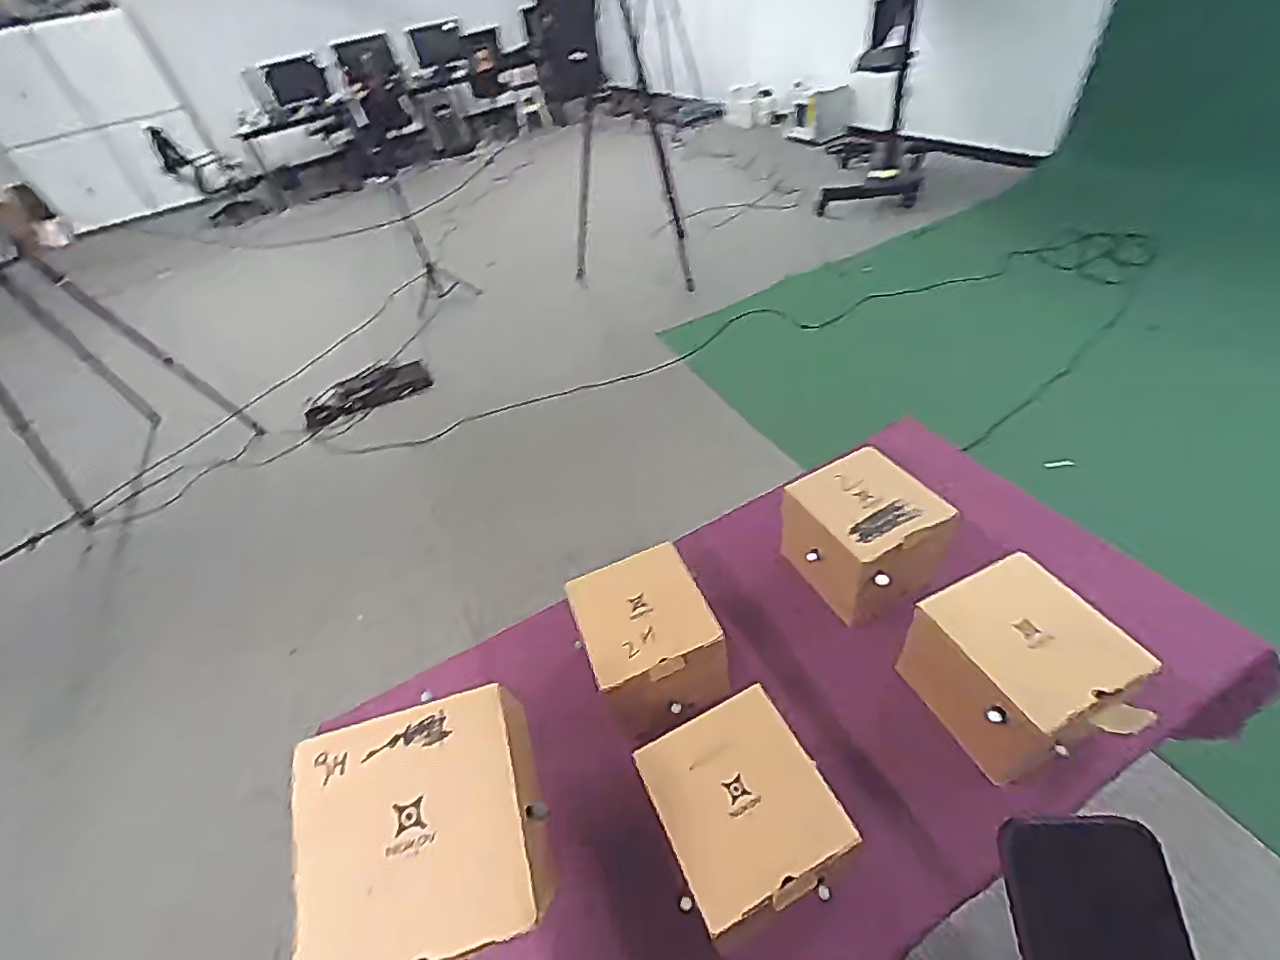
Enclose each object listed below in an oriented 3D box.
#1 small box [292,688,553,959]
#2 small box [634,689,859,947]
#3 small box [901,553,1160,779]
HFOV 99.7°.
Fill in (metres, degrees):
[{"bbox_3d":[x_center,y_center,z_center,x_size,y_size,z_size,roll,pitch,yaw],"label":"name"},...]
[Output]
[{"bbox_3d":[-0.179,0.305,0.480,0.168,0.176,0.179,-13,63,-11],"label":"small box"},{"bbox_3d":[0.113,0.377,0.602,0.168,0.176,0.179,-24,44,-12],"label":"small box"},{"bbox_3d":[0.456,0.229,0.671,0.168,0.176,0.179,-23,45,-10],"label":"small box"}]
